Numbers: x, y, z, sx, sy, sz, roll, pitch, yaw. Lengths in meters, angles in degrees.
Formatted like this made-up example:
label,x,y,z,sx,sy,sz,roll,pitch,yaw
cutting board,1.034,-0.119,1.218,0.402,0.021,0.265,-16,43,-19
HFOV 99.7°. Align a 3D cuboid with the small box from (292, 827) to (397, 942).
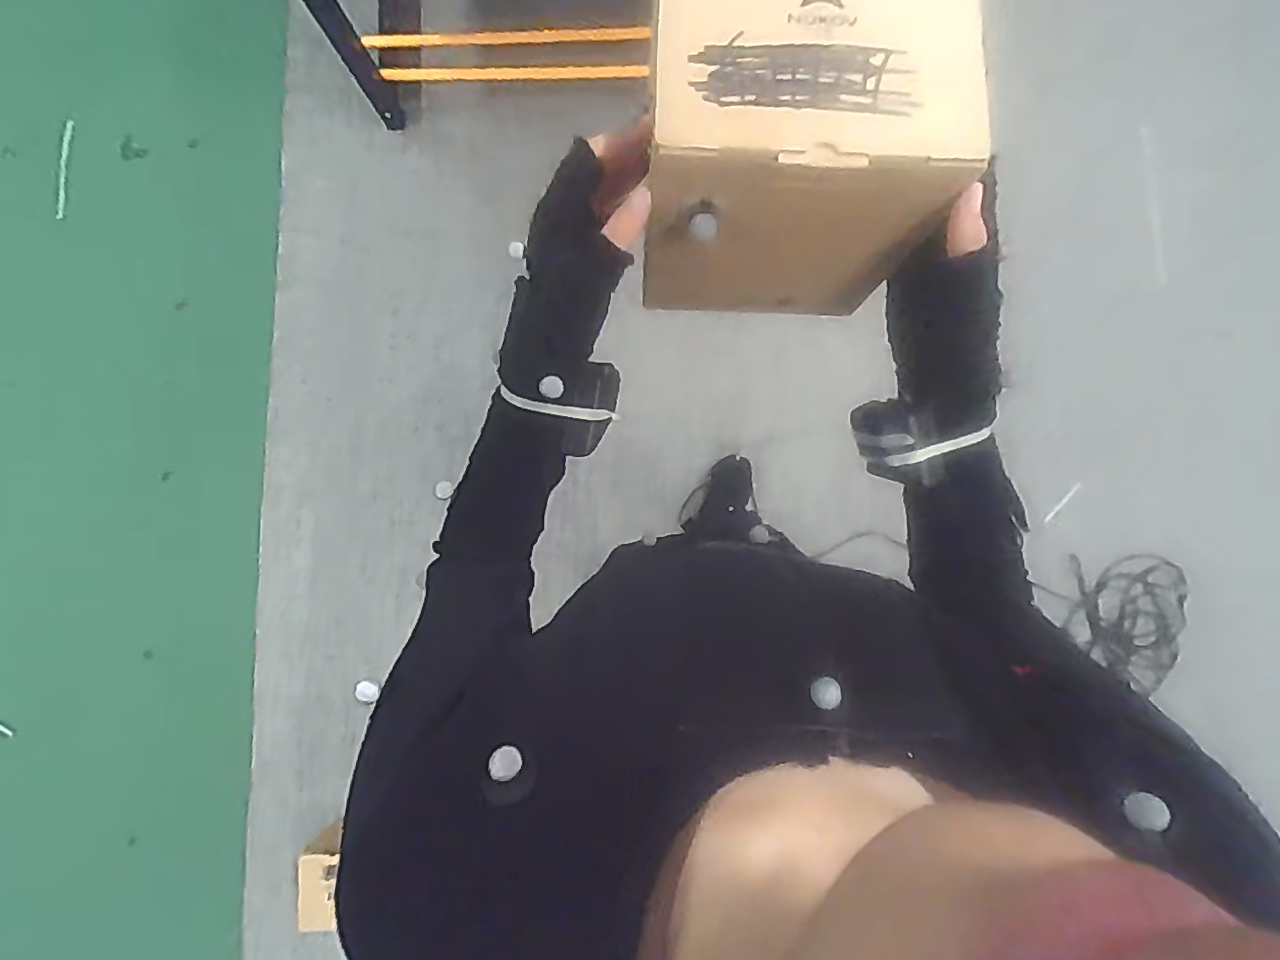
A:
label,x,y,z,sx,sy,sz,roll,pitch,yaw
small box,-0.717,0.981,1.328,0.168,0.176,0.179,-2,84,2
